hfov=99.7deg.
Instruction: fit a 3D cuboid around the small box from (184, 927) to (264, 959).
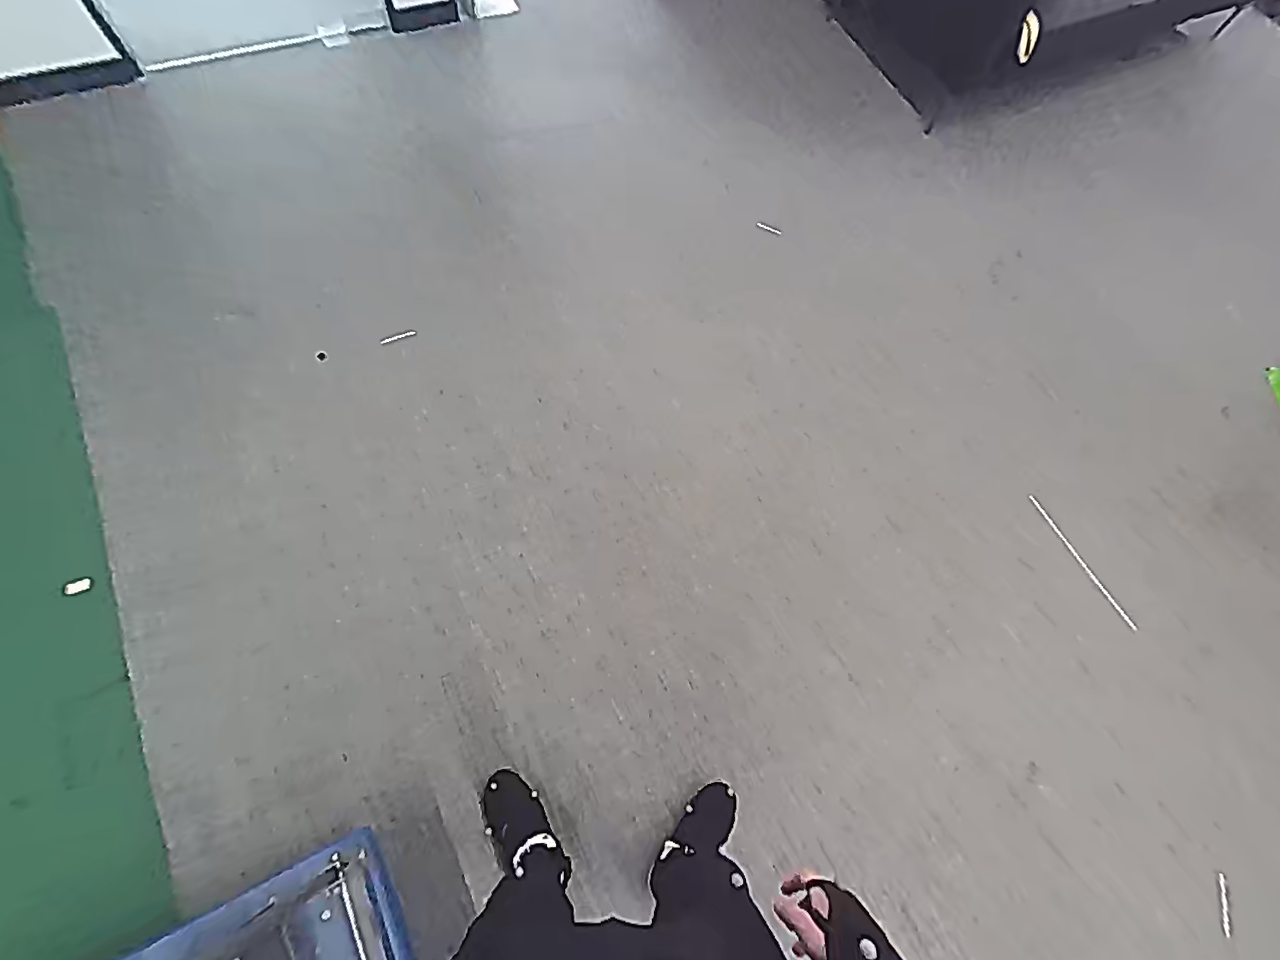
[{"bbox_3d":[-0.766,0.915,0.912,0.179,0.176,0.168,-21,73,-16],"label":"small box"}]
